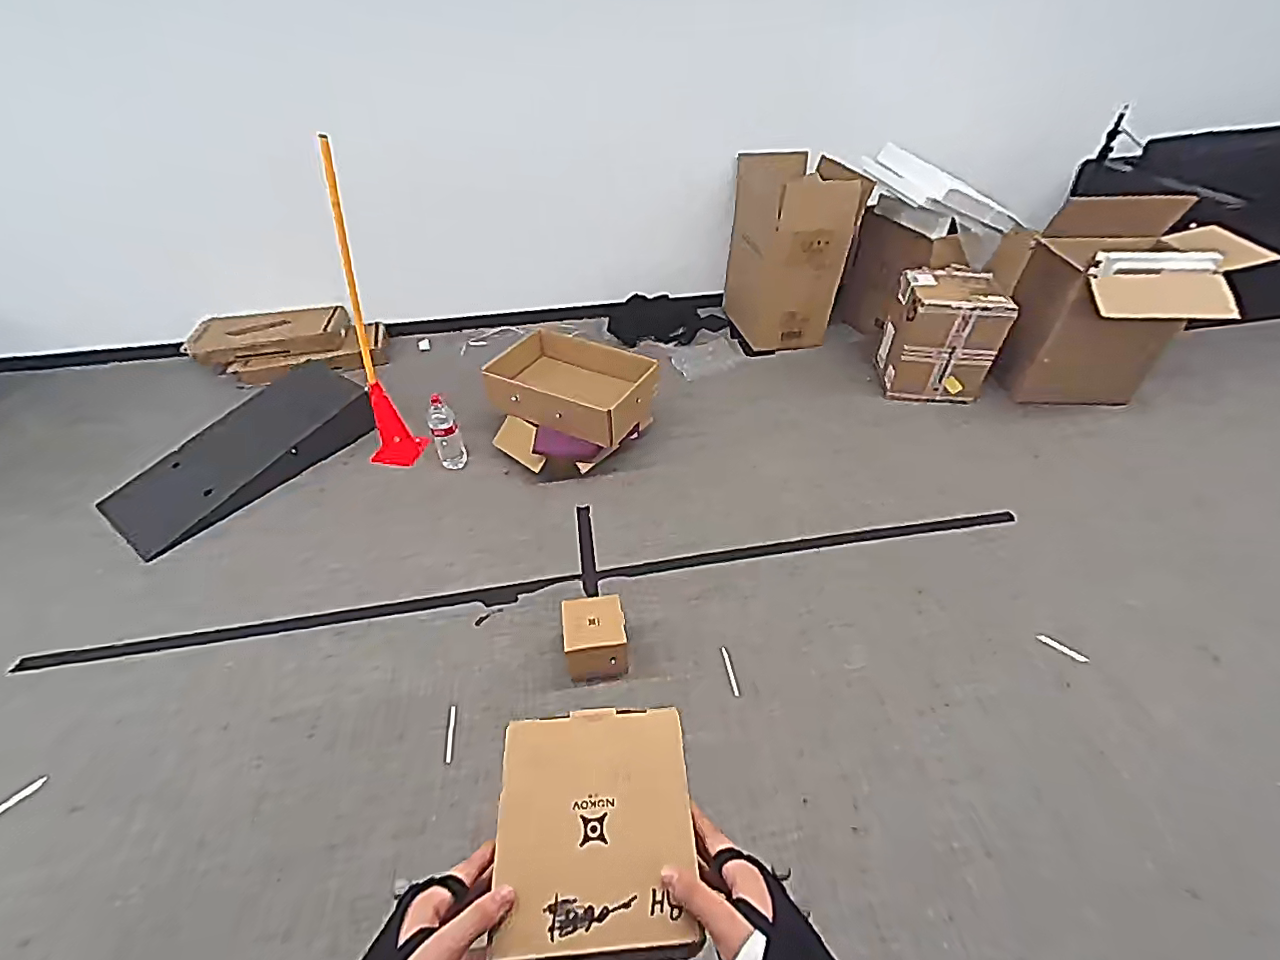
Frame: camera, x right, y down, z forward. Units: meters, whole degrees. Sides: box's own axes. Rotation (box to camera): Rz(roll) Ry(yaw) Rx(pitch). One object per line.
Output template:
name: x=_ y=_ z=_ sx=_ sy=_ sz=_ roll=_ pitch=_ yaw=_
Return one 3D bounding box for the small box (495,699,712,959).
small box: x=-0.031 y=0.337 z=0.517 sx=0.168 sy=0.176 sz=0.179 roll=-5 pitch=43 yaw=-2

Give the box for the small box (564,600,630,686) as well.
small box: x=-0.125 y=0.481 z=1.590 sx=0.179 sy=0.176 sz=0.168 roll=-8 pitch=42 yaw=-6
